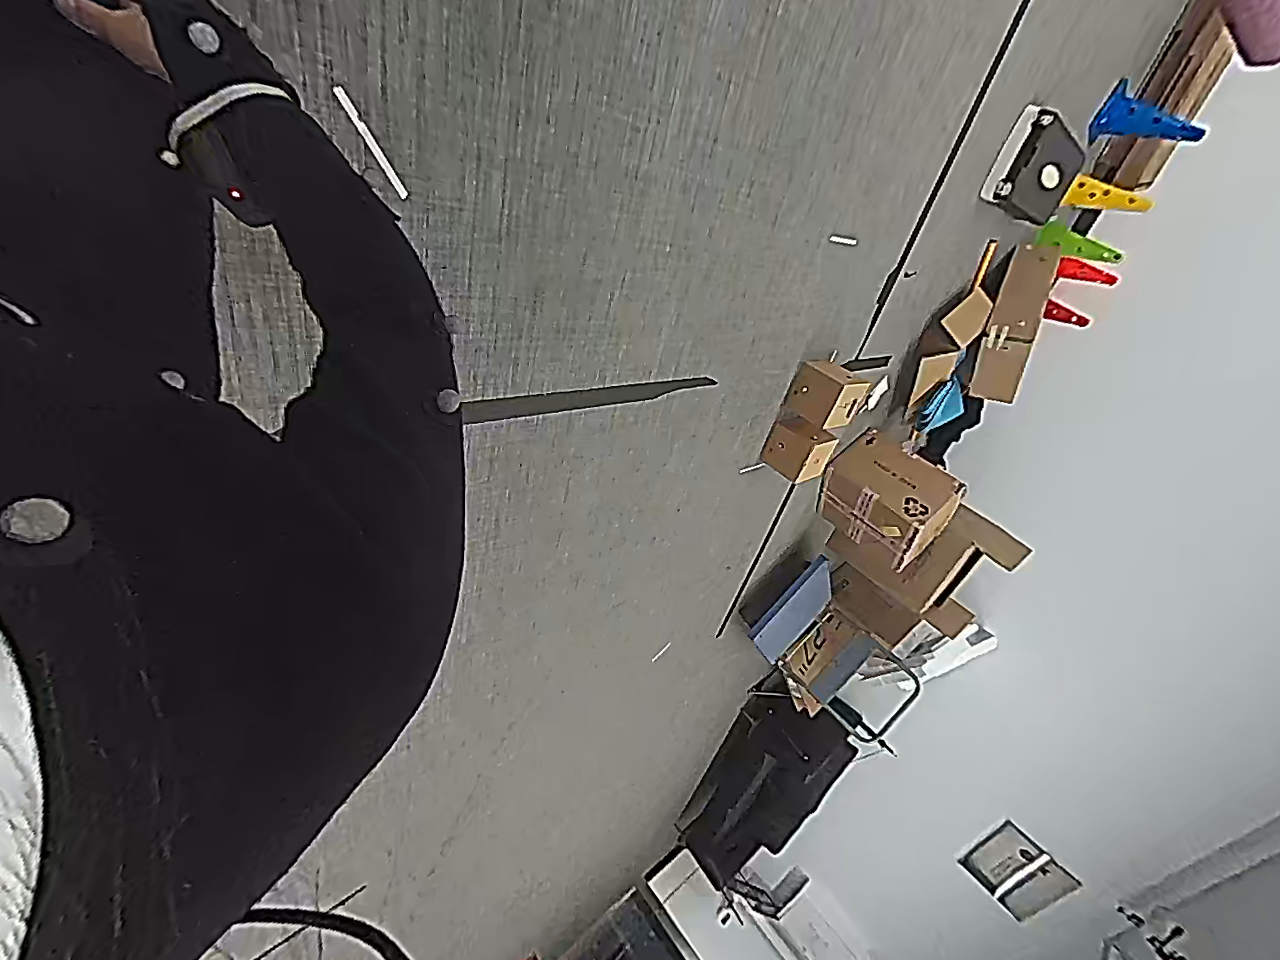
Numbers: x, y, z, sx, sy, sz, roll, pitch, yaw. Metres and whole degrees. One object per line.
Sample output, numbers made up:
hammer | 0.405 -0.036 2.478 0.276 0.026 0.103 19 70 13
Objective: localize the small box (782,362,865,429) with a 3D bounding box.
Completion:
small box | 0.622 -0.292 1.842 0.179 0.176 0.168 -13 133 -42

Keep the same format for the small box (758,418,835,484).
small box | 0.567 -0.112 1.969 0.179 0.176 0.168 -15 135 -41
